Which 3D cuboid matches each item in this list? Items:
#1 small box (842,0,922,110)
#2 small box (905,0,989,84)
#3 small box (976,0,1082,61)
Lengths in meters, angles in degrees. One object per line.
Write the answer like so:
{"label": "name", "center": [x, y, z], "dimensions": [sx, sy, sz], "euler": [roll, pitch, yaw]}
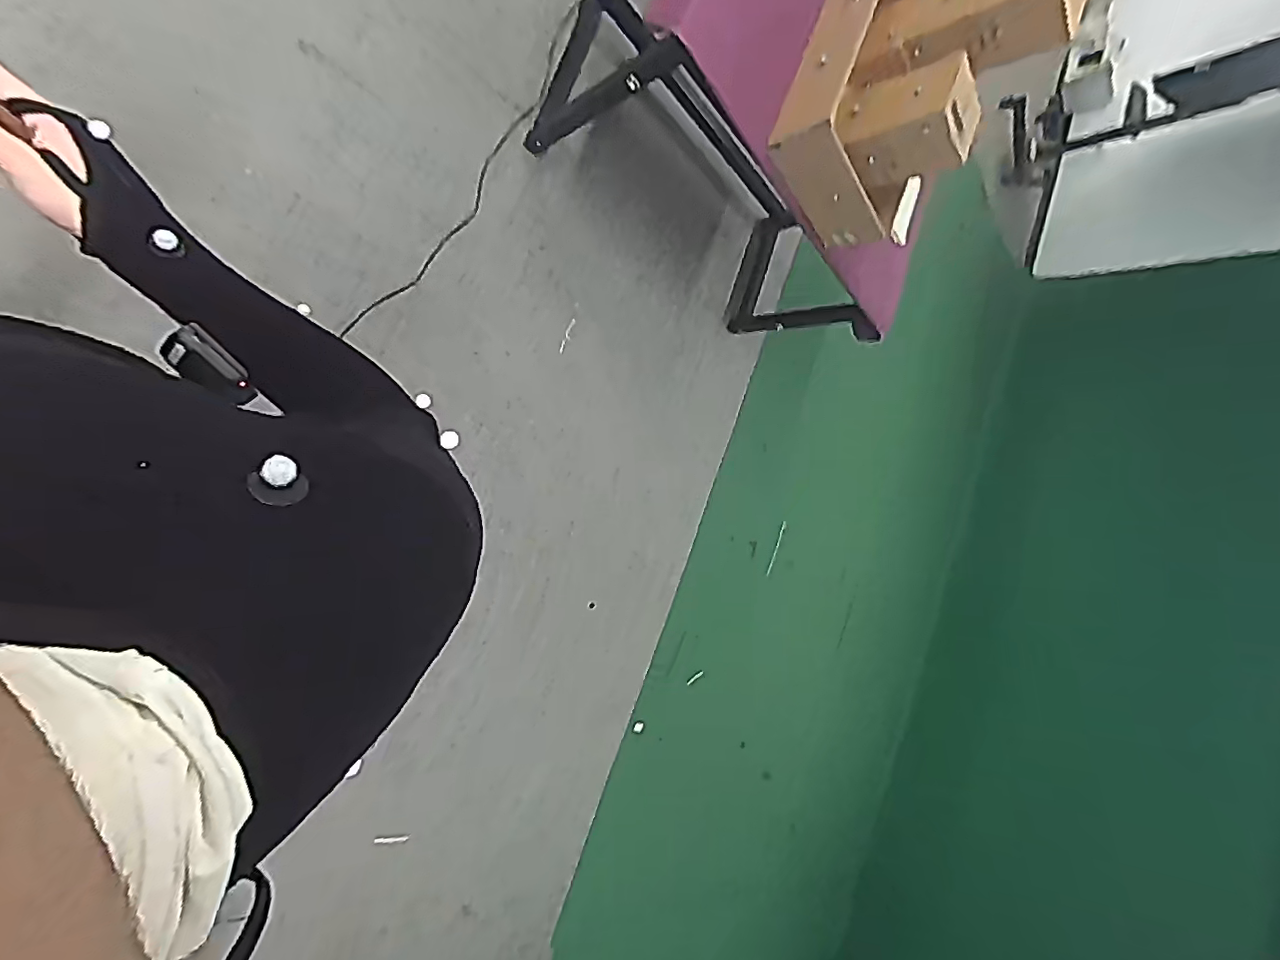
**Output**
{"label": "small box", "center": [0.679, -1.171, 1.480], "dimensions": [0.168, 0.176, 0.179], "euler": [27, 81, -42]}
{"label": "small box", "center": [0.790, -1.153, 1.360], "dimensions": [0.168, 0.176, 0.179], "euler": [26, 81, -42]}
{"label": "small box", "center": [0.898, -1.127, 1.241], "dimensions": [0.168, 0.176, 0.179], "euler": [27, 82, -41]}
